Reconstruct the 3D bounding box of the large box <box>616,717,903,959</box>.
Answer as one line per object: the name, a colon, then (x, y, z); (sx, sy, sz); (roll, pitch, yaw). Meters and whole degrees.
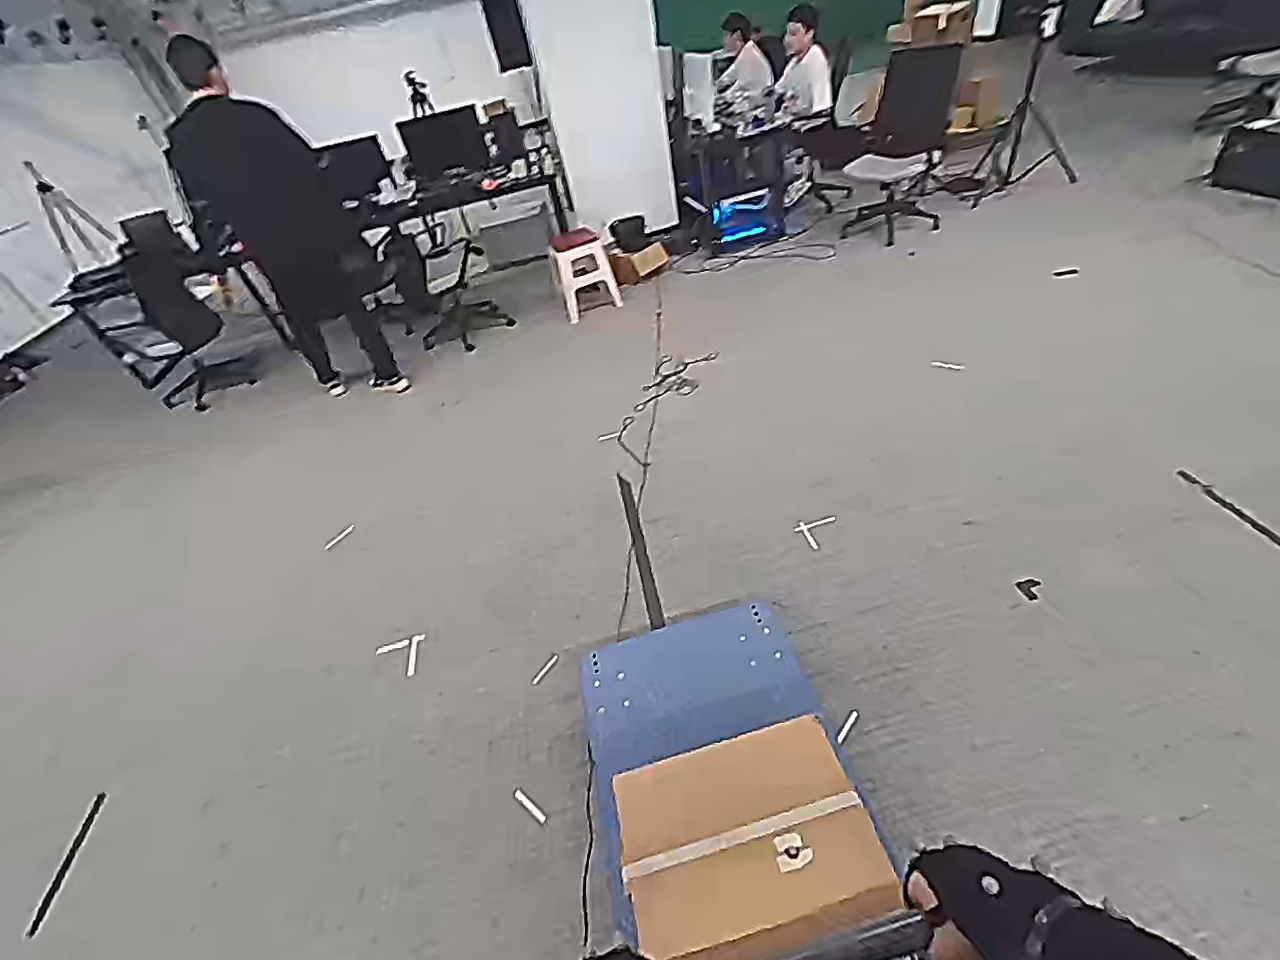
large box: (0.202, 0.714, 1.004); (0.408, 0.320, 0.320); (-16, 39, -3)
